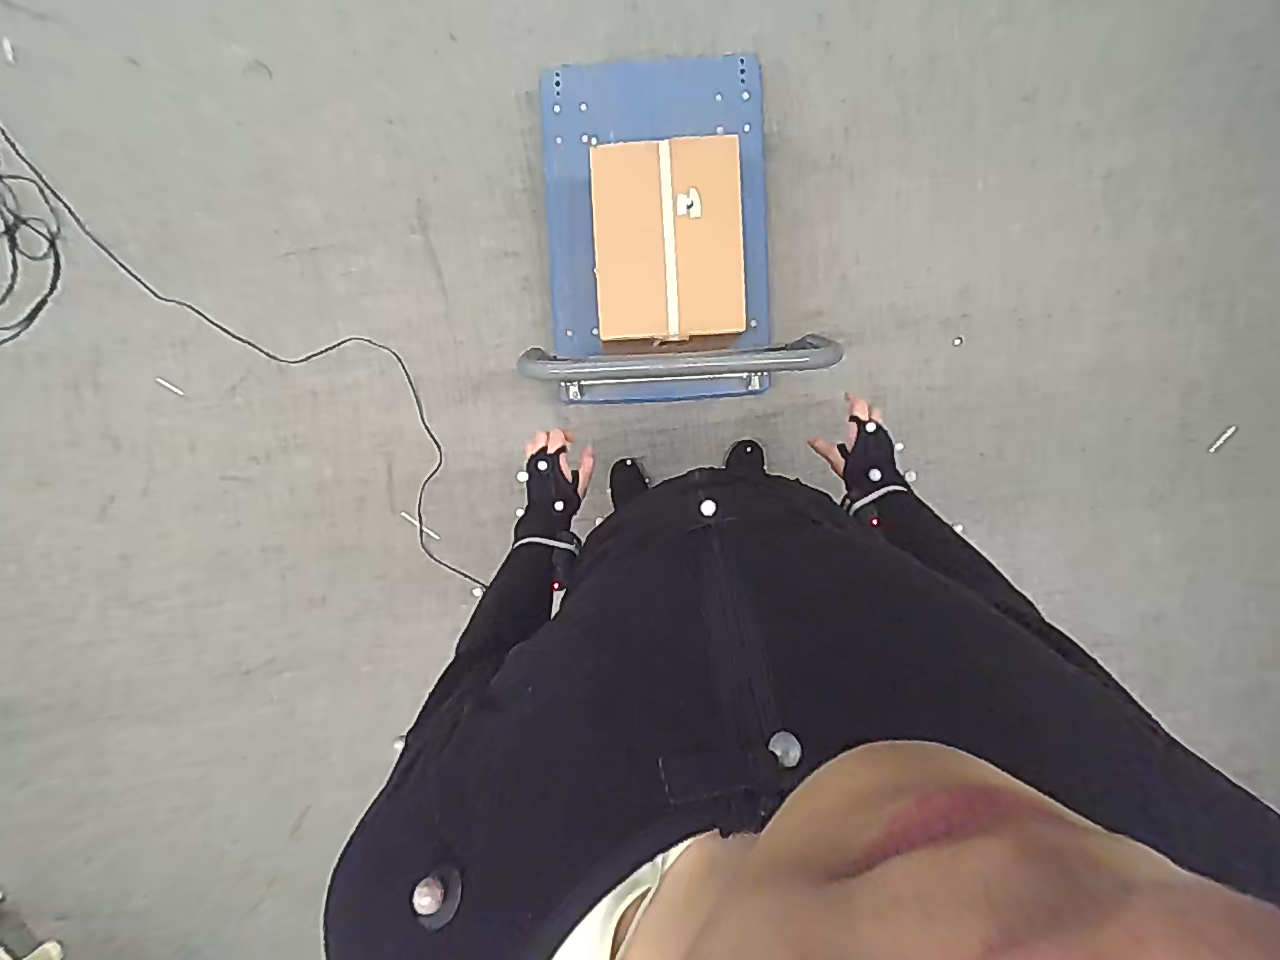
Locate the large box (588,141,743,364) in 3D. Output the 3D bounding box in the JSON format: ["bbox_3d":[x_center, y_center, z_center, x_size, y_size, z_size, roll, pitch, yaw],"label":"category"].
[{"bbox_3d":[0.059,-0.512,1.296,0.320,0.320,0.408,-3,92,1],"label":"large box"}]
